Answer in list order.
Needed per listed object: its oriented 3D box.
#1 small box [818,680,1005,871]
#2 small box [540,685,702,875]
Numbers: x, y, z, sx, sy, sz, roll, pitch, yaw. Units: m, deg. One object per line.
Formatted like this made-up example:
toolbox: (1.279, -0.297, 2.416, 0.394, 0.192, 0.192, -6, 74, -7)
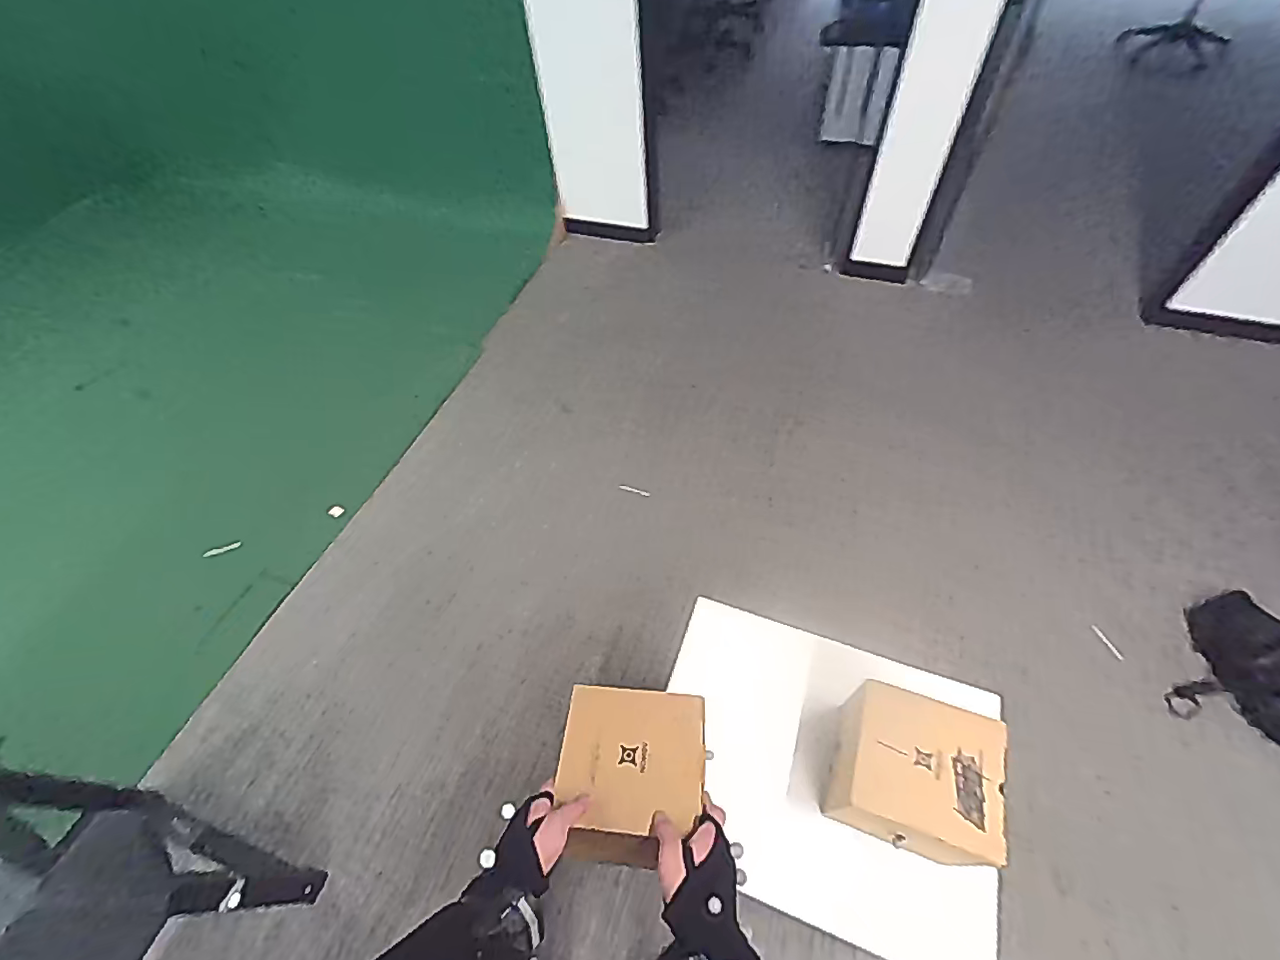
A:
small box: (0.364, 0.404, 0.741, 0.179, 0.176, 0.168, 16, 56, 14)
small box: (-0.014, 0.384, 0.690, 0.179, 0.176, 0.168, 2, 43, 4)
